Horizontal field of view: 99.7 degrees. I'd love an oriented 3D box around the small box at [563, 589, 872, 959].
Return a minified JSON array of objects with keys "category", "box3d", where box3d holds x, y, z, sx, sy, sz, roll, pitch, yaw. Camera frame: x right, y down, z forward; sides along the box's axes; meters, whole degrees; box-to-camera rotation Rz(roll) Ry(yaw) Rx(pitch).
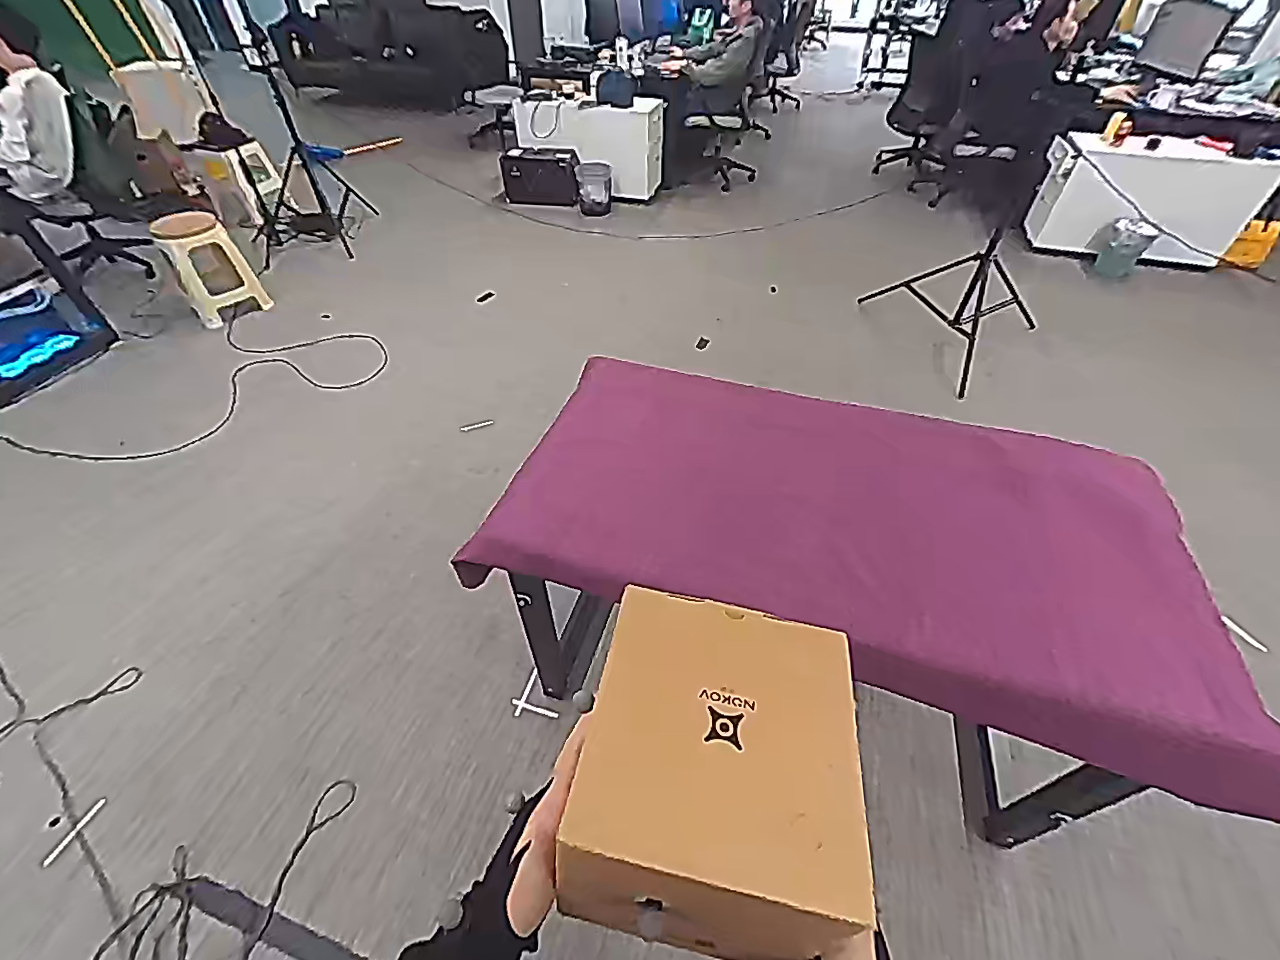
[{"category":"small box","box3d":[0.049,0.214,0.395,0.168,0.176,0.179,12,40,5]}]
